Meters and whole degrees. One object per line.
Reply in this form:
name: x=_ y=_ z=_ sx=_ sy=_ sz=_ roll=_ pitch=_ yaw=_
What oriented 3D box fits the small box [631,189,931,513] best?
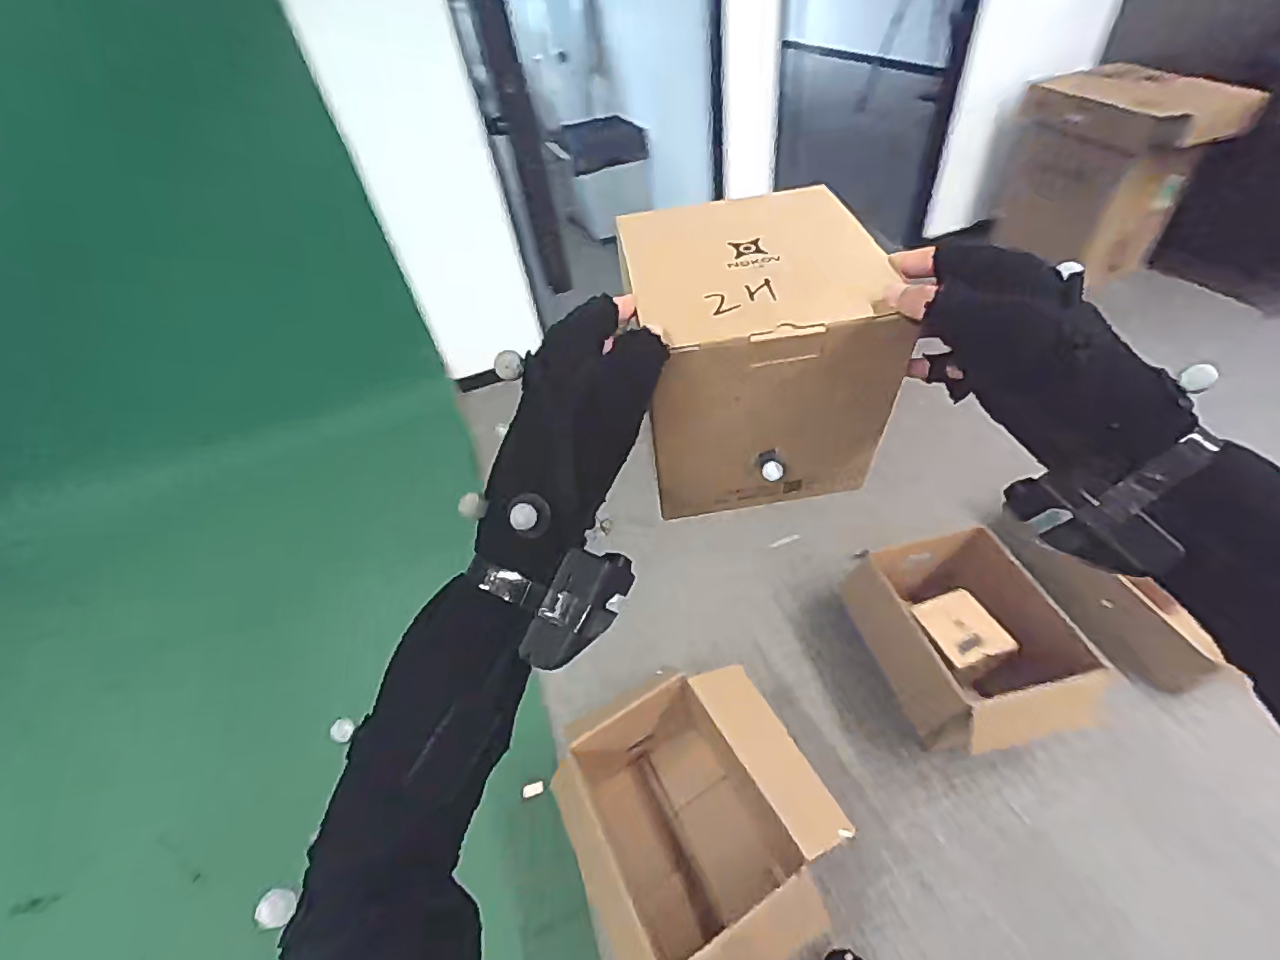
small box: x=0.087 y=-0.098 z=0.427 sx=0.168 sy=0.176 sz=0.179 roll=-9 pitch=51 yaw=1
